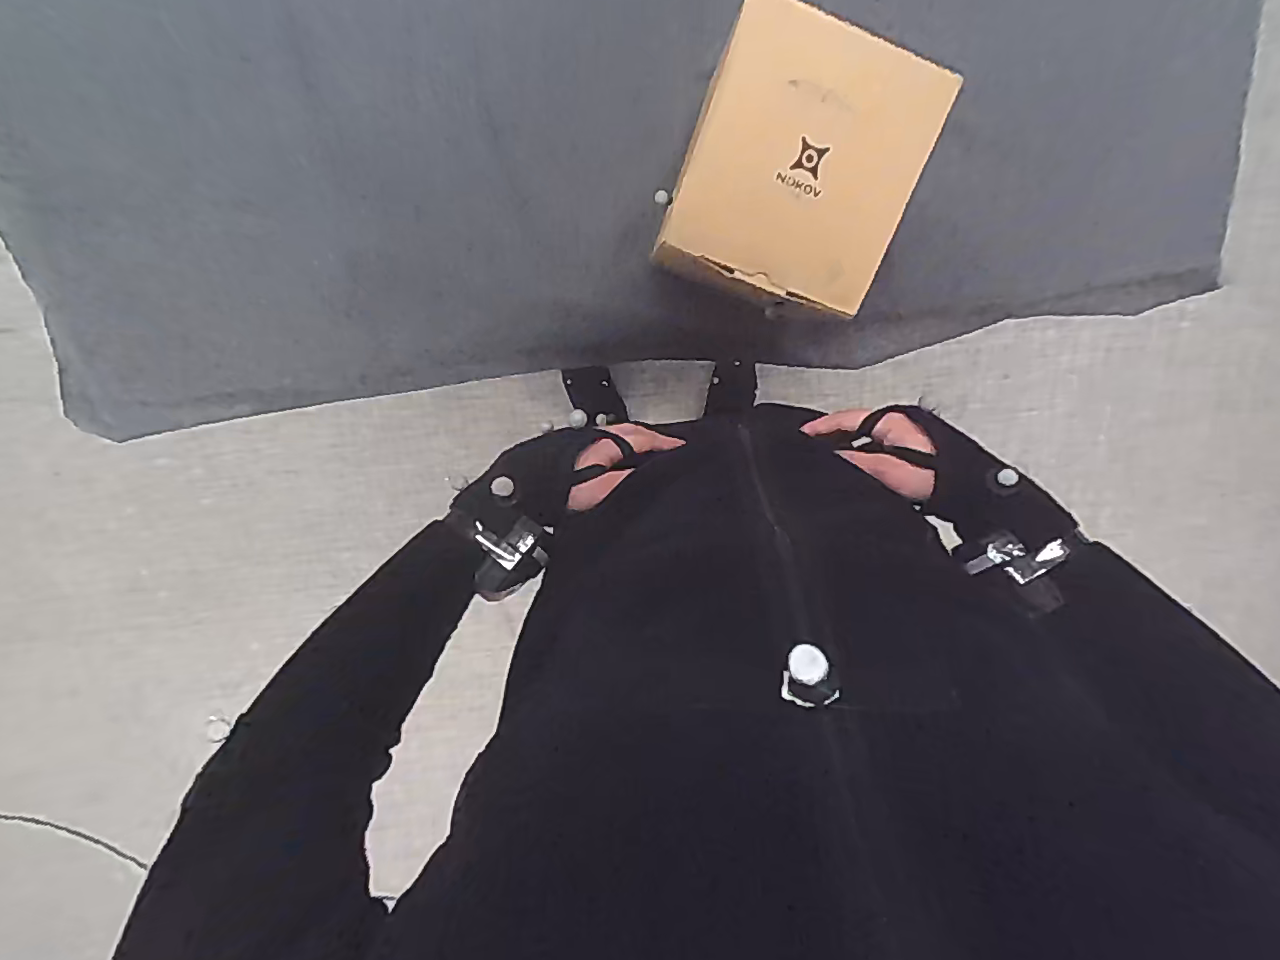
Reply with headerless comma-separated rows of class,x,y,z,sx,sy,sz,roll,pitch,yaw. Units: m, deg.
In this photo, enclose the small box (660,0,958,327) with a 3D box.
small box,0.121,-0.246,0.472,0.168,0.176,0.179,17,105,-8
